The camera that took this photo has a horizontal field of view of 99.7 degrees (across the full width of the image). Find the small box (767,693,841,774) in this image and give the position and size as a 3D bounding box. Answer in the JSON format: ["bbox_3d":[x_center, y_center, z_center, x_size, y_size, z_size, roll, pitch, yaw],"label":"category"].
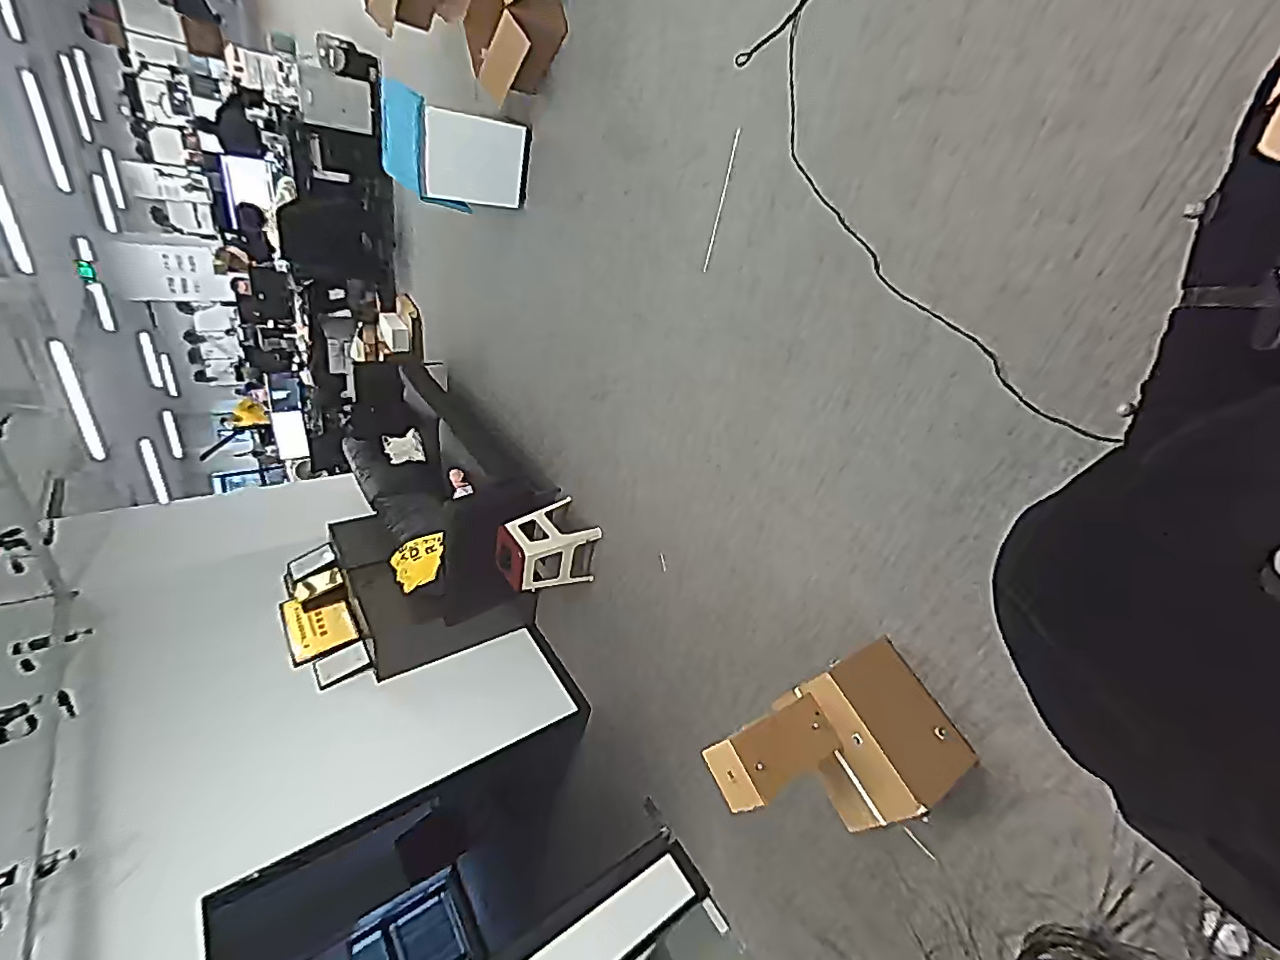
[{"bbox_3d":[0.455,0.762,1.598,0.168,0.176,0.179,58,142,25],"label":"small box"}]

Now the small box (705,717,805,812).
[{"bbox_3d":[0.321,0.786,1.510,0.179,0.176,0.168,59,142,23],"label":"small box"}]
